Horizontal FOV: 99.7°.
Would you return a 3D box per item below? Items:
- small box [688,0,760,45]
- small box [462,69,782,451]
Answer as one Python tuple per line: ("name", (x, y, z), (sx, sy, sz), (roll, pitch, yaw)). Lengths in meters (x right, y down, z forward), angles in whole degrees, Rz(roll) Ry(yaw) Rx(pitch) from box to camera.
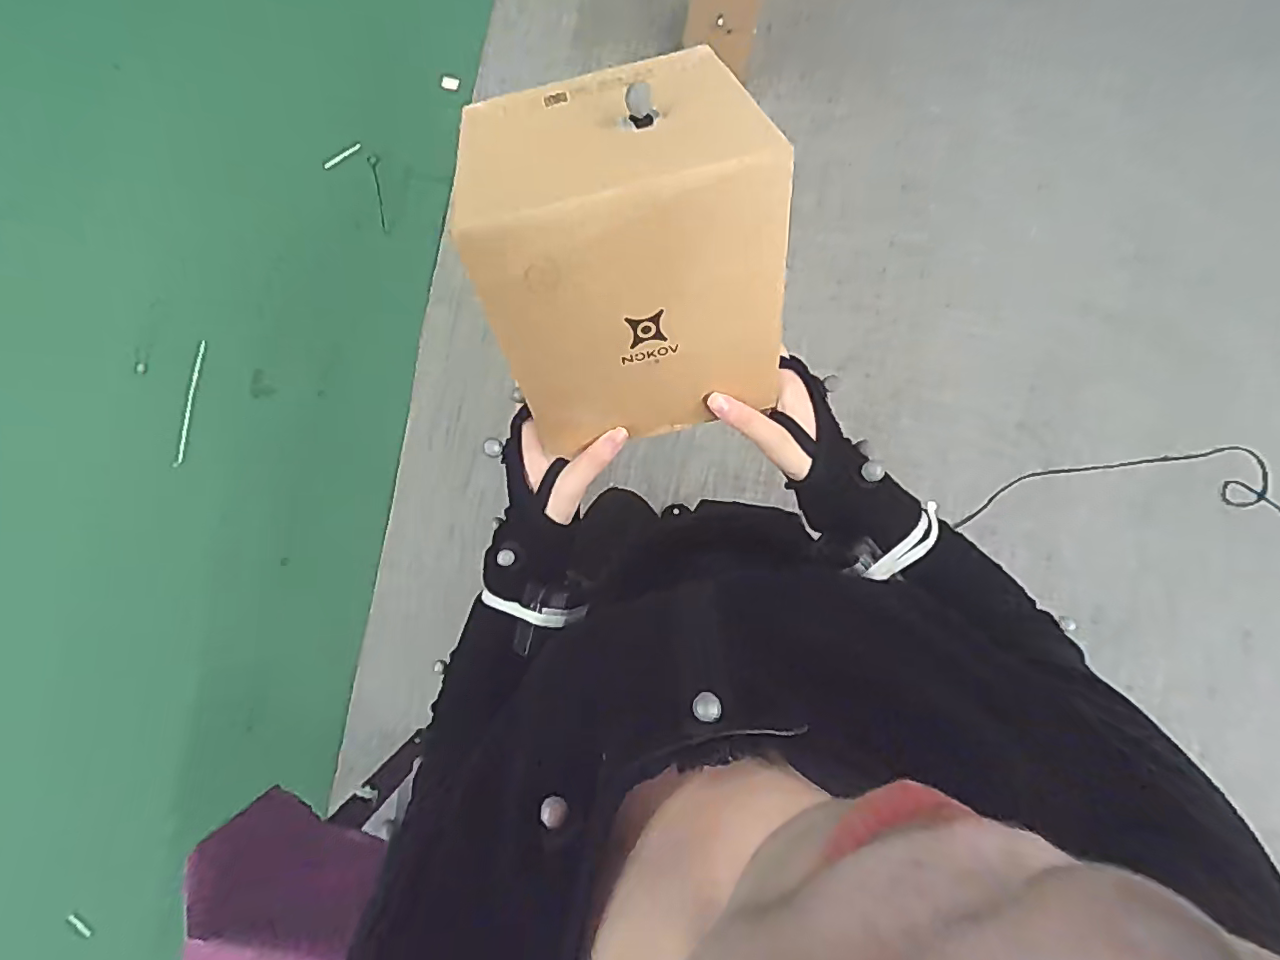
("small box", (0.204, -1.175, 1.263), (0.168, 0.176, 0.179), (7, 91, 5))
("small box", (-0.012, -0.152, 0.375), (0.168, 0.179, 0.176), (-13, 54, 1))
